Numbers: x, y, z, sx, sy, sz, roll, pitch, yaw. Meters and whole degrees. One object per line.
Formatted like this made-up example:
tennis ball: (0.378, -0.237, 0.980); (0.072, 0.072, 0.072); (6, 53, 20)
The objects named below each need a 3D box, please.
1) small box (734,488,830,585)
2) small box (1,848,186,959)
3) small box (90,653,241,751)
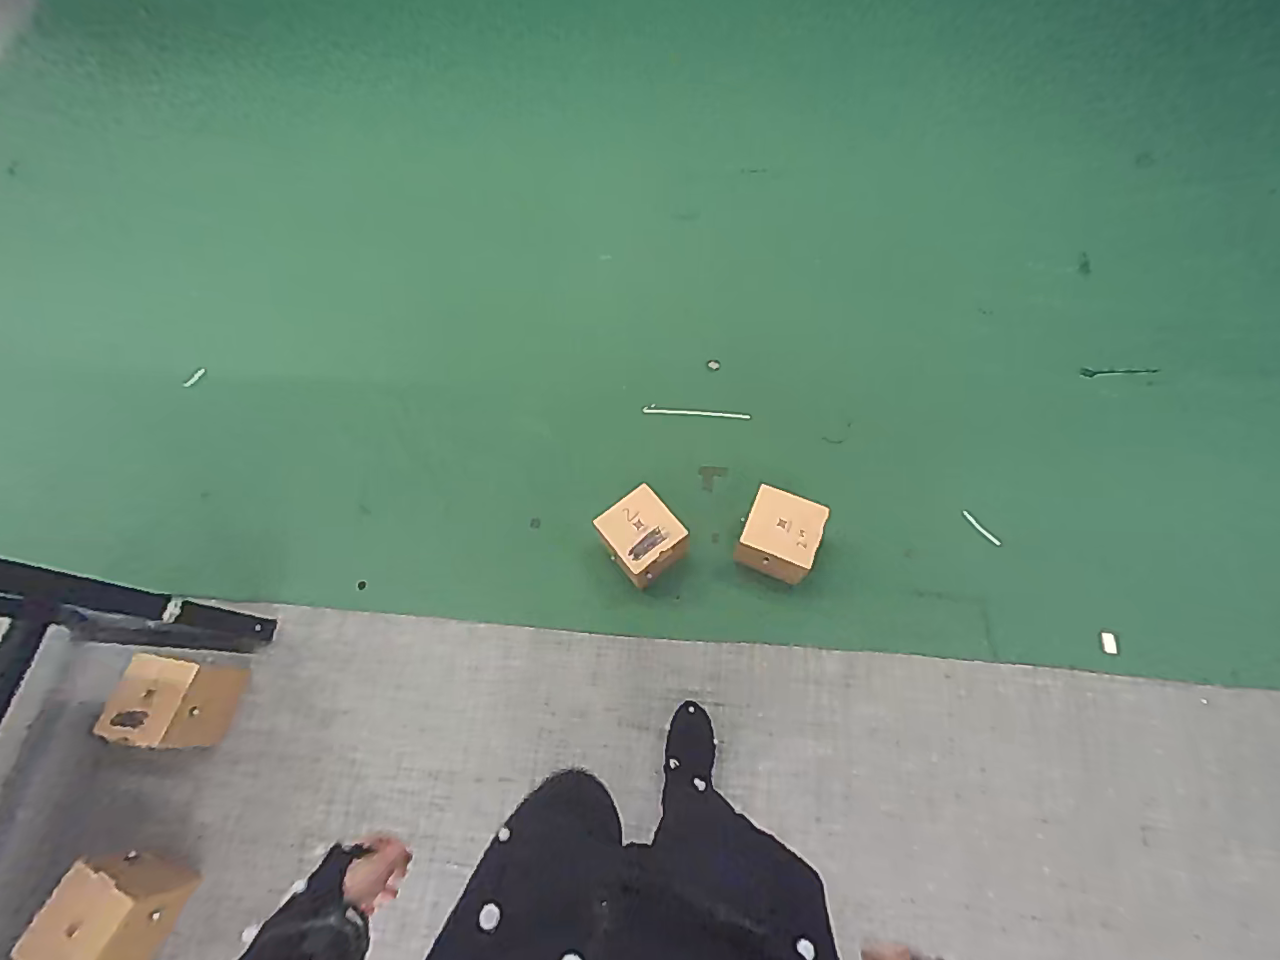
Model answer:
small box: (0.347, 0.148, 1.356); (0.179, 0.176, 0.168); (22, 70, 11)
small box: (-1.084, 0.889, 1.096); (0.168, 0.176, 0.179); (22, 71, 12)
small box: (-1.086, 0.516, 1.258); (0.168, 0.176, 0.179); (9, 66, 6)
